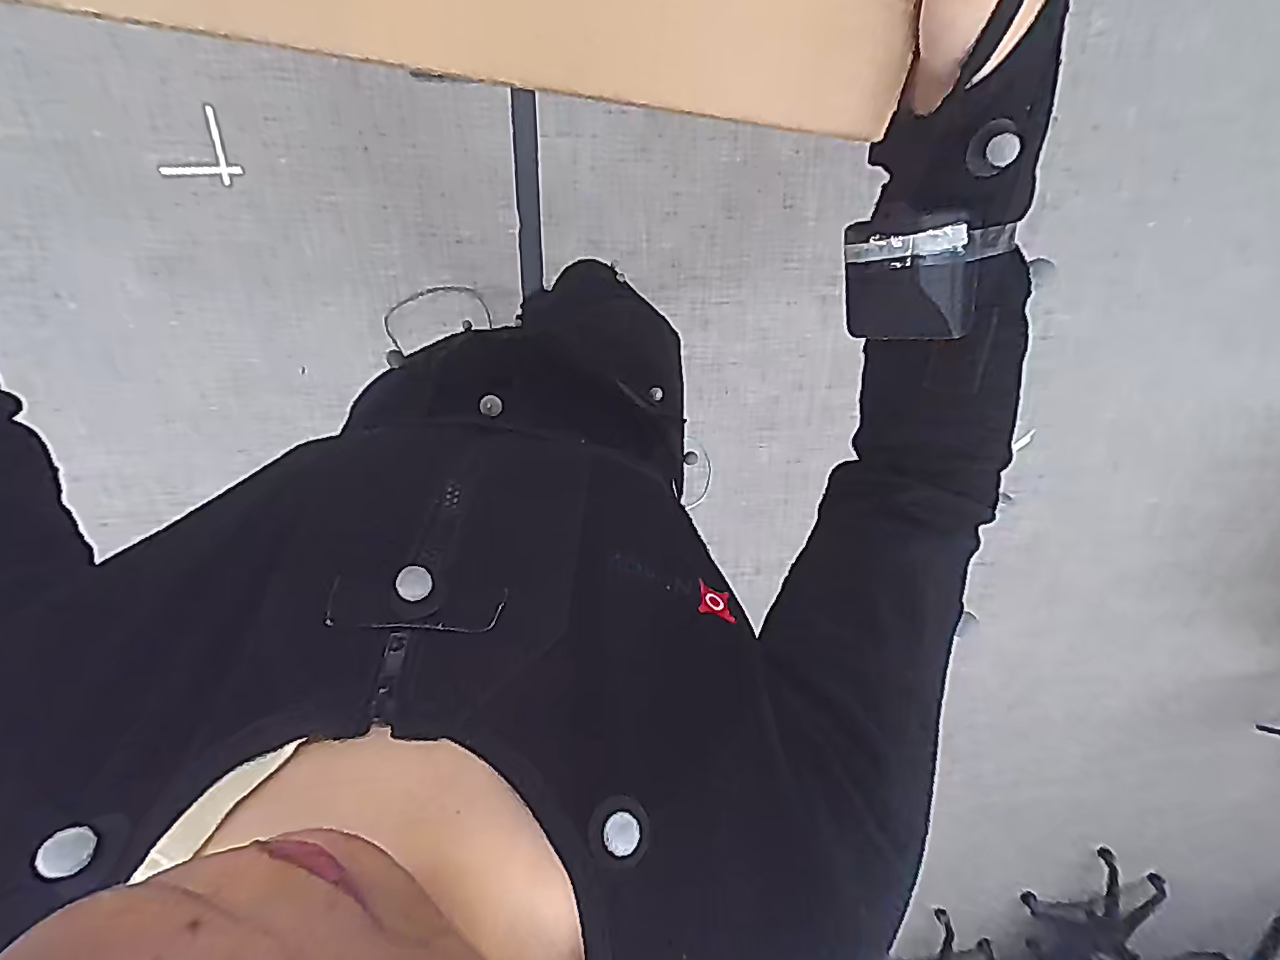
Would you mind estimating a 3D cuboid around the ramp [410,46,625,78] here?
[{"bbox_3d":[-0.194,-1.244,0.831,0.509,0.206,0.991,-4,112,-6],"label":"ramp"}]

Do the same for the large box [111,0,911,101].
[{"bbox_3d":[-0.076,-0.403,0.257,0.408,0.320,0.320,3,129,-9],"label":"large box"}]
